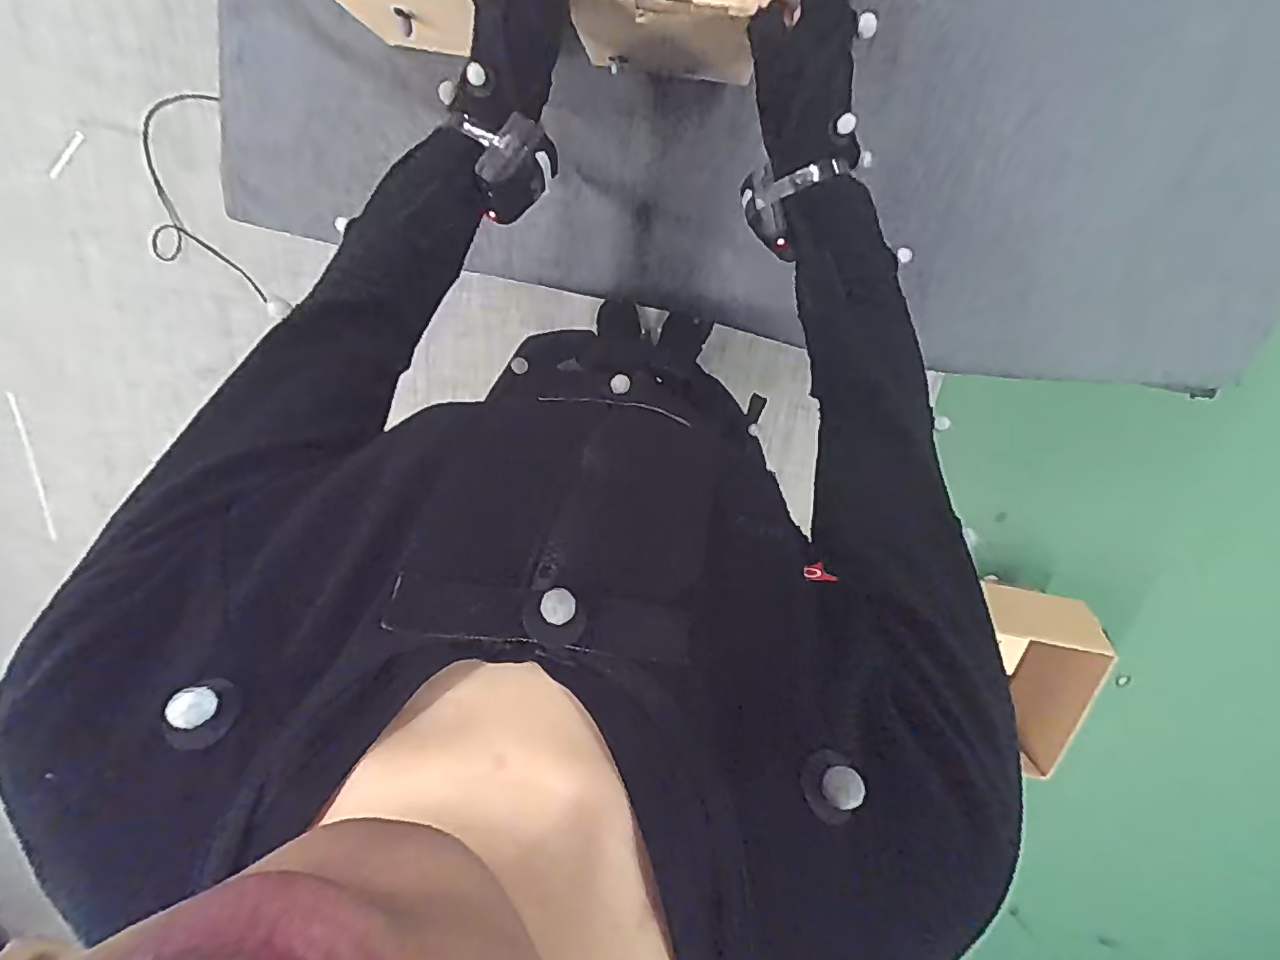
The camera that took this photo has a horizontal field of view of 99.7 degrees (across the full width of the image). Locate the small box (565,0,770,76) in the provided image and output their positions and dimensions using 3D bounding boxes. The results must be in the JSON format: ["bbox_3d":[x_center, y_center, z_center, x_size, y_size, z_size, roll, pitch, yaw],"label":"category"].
[{"bbox_3d":[0.037,-0.469,0.448,0.168,0.176,0.179,9,111,2],"label":"small box"}]

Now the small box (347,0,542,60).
[{"bbox_3d":[-0.181,-0.507,0.473,0.168,0.176,0.179,9,110,0],"label":"small box"}]
